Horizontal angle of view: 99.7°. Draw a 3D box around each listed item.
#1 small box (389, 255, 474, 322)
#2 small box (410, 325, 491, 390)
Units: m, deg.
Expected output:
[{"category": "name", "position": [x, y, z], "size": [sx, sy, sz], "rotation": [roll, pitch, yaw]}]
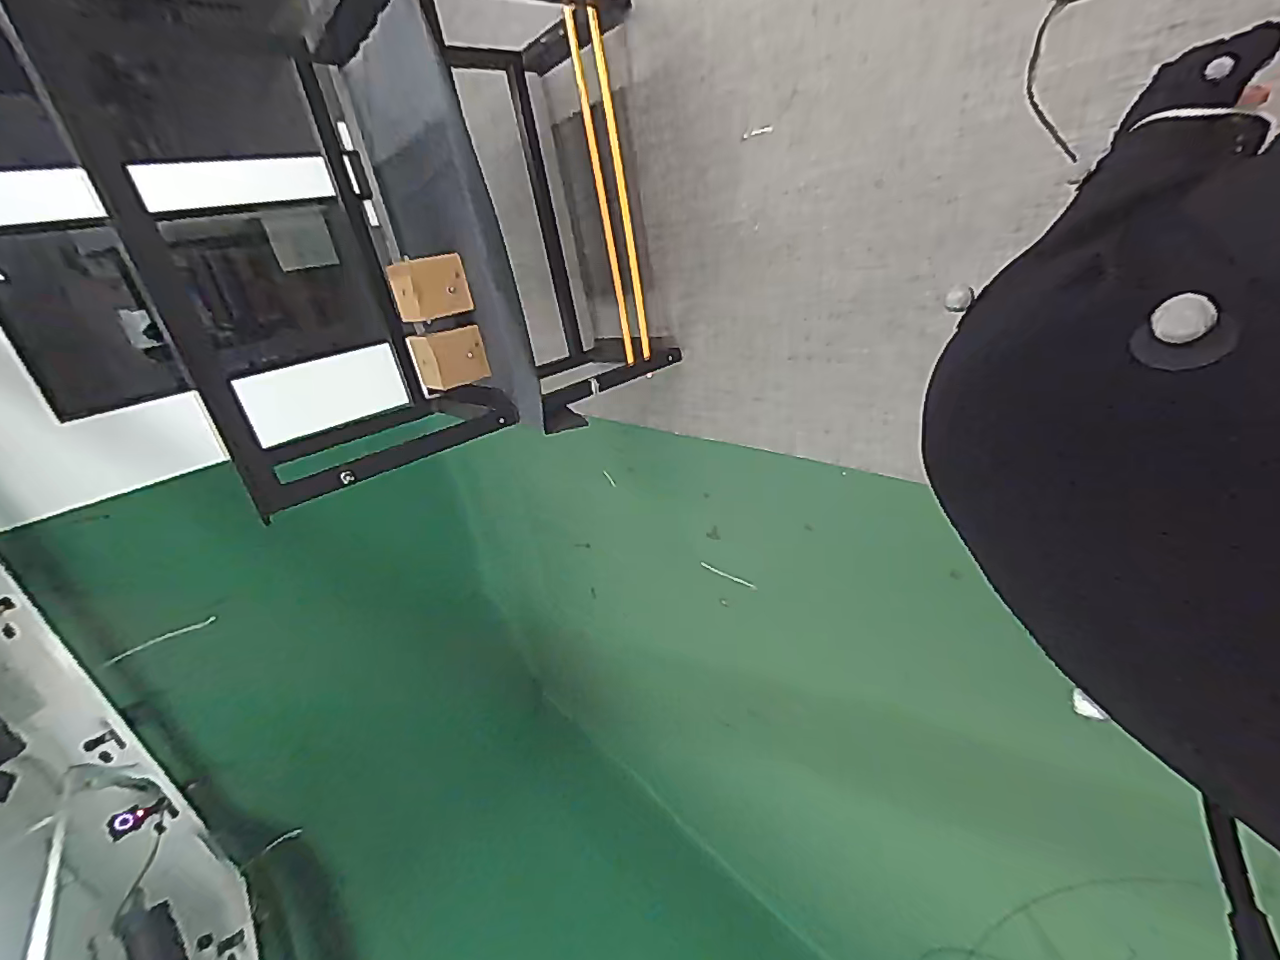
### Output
[{"category": "small box", "position": [-0.632, -0.583, 1.649], "size": [0.179, 0.176, 0.168], "rotation": [16, 125, 47]}, {"category": "small box", "position": [-0.605, -0.395, 1.733], "size": [0.179, 0.176, 0.168], "rotation": [16, 125, 47]}]
